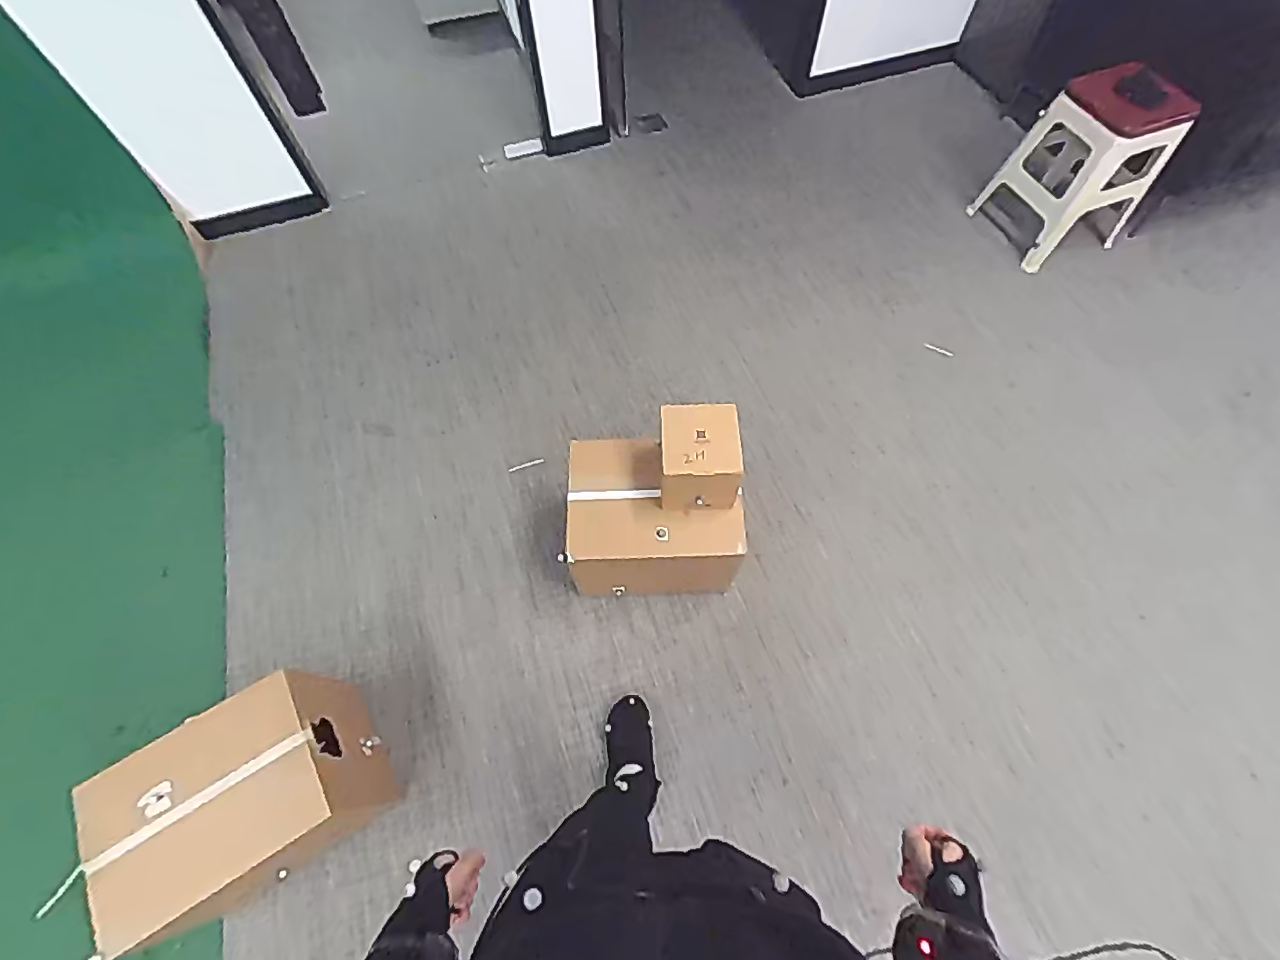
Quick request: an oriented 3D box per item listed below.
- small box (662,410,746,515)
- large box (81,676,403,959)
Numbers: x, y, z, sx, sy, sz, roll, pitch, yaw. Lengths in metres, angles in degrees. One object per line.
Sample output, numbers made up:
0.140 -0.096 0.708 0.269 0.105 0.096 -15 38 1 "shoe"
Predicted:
0.133 -0.036 1.198 0.168 0.176 0.179 -1 61 1 "small box"
-0.793 0.671 1.128 0.408 0.320 0.320 -31 65 -13 "large box"
